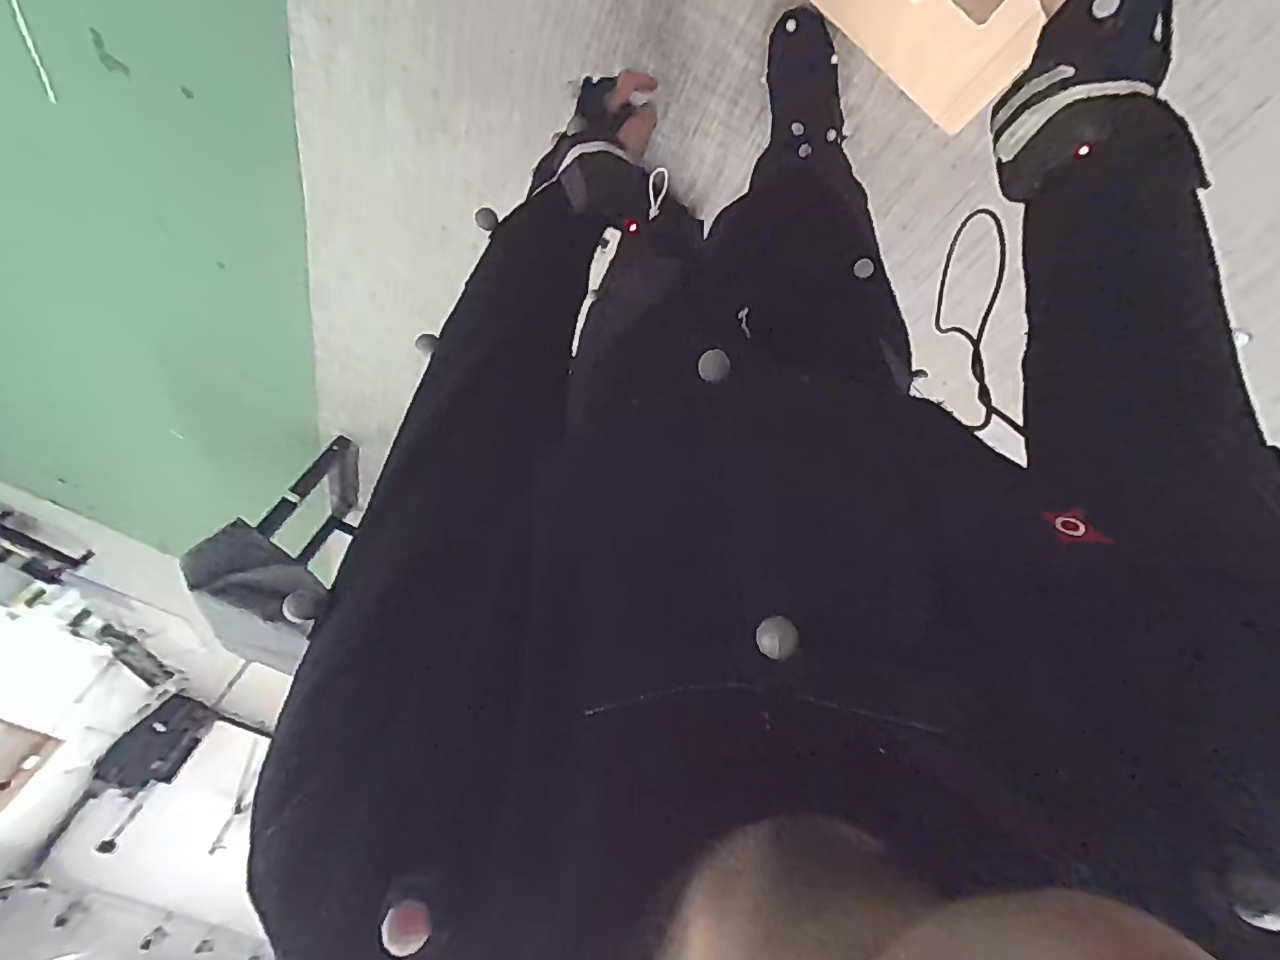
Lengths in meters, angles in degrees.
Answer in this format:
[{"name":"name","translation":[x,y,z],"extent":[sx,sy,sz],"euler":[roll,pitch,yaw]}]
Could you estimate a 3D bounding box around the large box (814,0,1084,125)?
[{"name":"large box","translation":[0.369,-0.745,0.656],"extent":[0.408,0.320,0.320],"euler":[31,140,-14]}]
